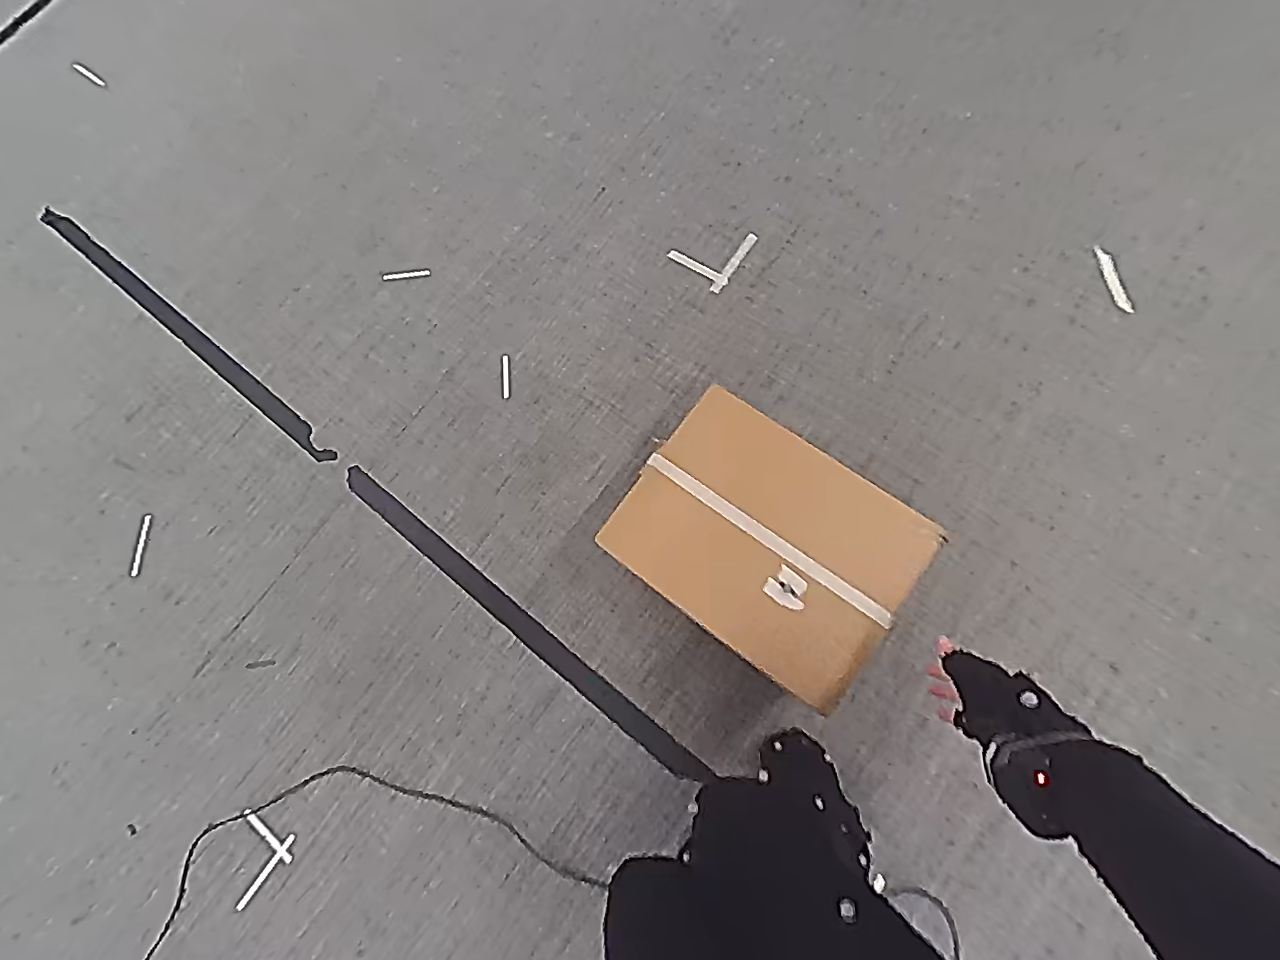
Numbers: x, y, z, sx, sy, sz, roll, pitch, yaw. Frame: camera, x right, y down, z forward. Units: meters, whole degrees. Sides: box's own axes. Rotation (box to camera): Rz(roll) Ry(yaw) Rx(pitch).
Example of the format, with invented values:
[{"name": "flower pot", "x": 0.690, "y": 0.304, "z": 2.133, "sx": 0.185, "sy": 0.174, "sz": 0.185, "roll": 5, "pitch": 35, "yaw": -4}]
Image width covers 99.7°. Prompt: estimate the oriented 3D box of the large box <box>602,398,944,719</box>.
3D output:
[{"name": "large box", "x": 0.199, "y": 0.132, "z": 0.930, "sx": 0.408, "sy": 0.320, "sz": 0.320, "roll": 35, "pitch": 82, "yaw": 13}]
